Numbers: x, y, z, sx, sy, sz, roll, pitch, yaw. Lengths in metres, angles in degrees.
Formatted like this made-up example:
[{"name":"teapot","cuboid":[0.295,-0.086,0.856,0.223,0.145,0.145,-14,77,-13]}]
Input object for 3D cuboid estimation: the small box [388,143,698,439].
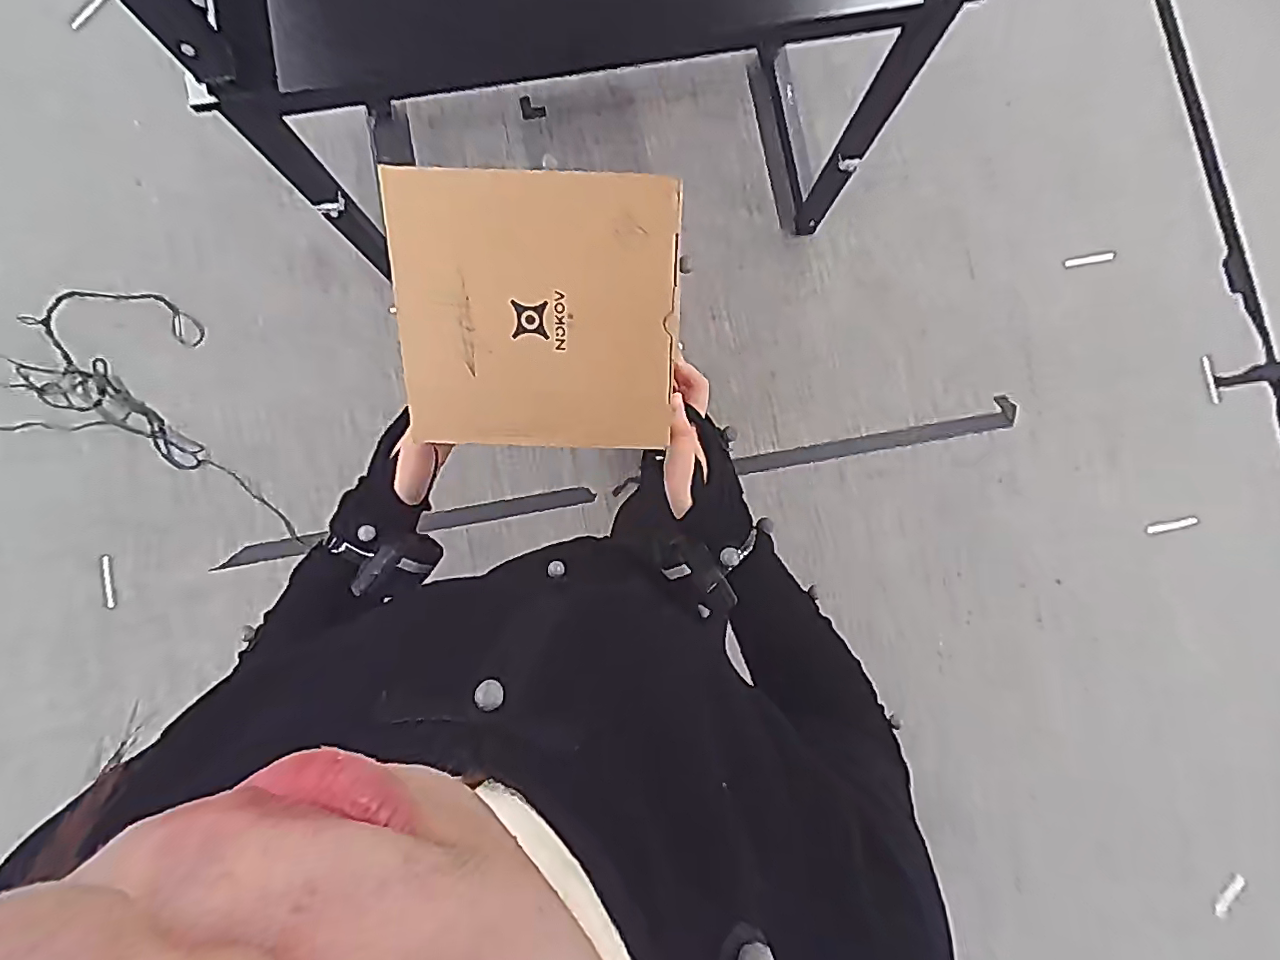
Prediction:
[{"name":"small box","cuboid":[-0.058,-0.135,0.403,0.179,0.176,0.168,2,111,0]}]
